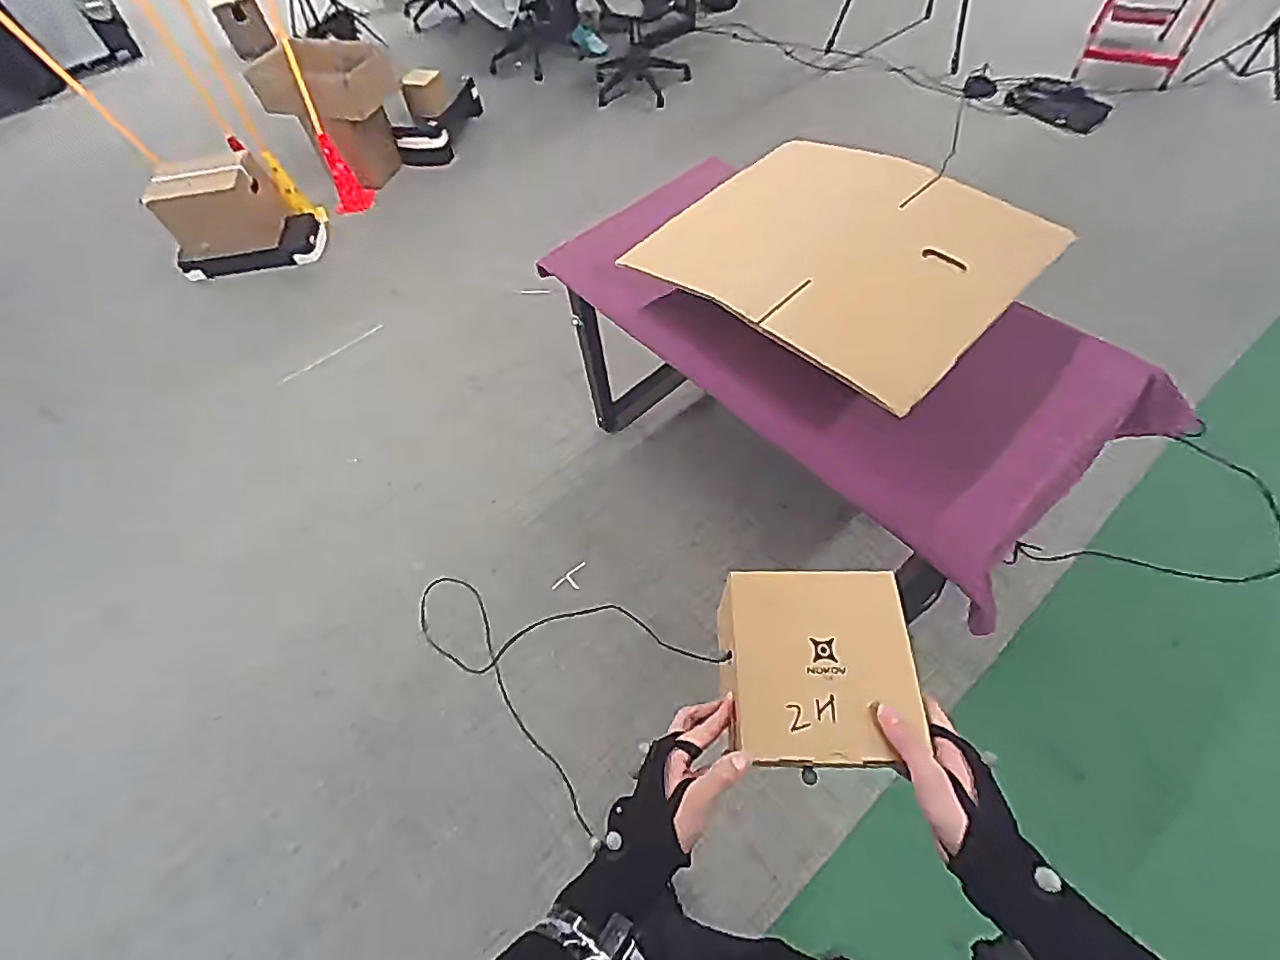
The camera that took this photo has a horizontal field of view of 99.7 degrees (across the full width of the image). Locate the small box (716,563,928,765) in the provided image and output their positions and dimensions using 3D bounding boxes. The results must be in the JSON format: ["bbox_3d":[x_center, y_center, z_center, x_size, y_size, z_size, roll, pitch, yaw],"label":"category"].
[{"bbox_3d":[0.170,0.200,0.574,0.168,0.176,0.179,-1,62,4],"label":"small box"}]
